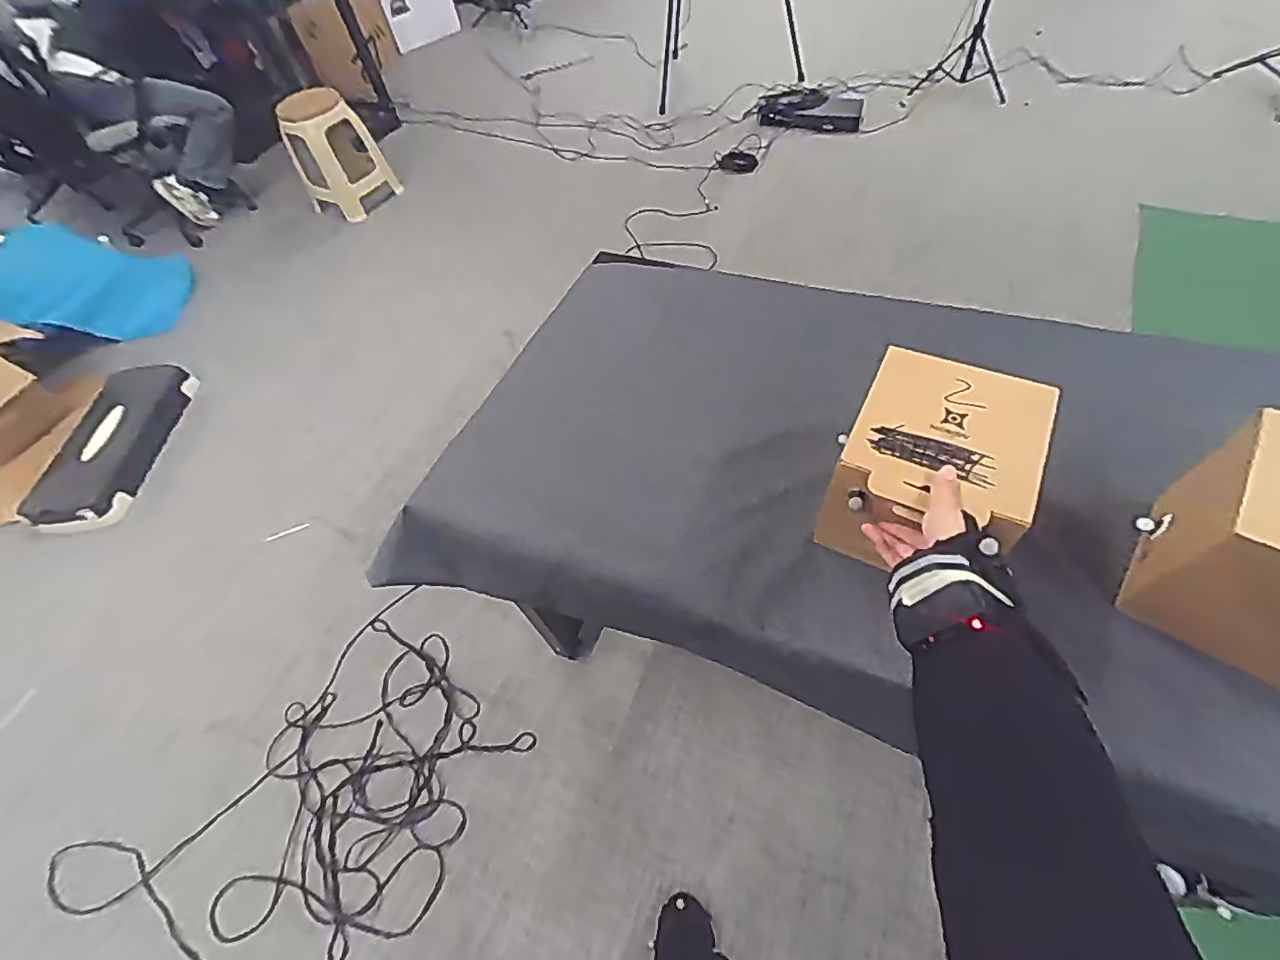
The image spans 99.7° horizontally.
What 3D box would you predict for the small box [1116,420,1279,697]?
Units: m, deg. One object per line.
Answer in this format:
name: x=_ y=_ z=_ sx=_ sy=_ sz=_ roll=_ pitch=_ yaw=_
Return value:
small box: x=0.606 y=0.083 z=0.498 sx=0.179 sy=0.176 sz=0.168 roll=31 pitch=64 yaw=27
